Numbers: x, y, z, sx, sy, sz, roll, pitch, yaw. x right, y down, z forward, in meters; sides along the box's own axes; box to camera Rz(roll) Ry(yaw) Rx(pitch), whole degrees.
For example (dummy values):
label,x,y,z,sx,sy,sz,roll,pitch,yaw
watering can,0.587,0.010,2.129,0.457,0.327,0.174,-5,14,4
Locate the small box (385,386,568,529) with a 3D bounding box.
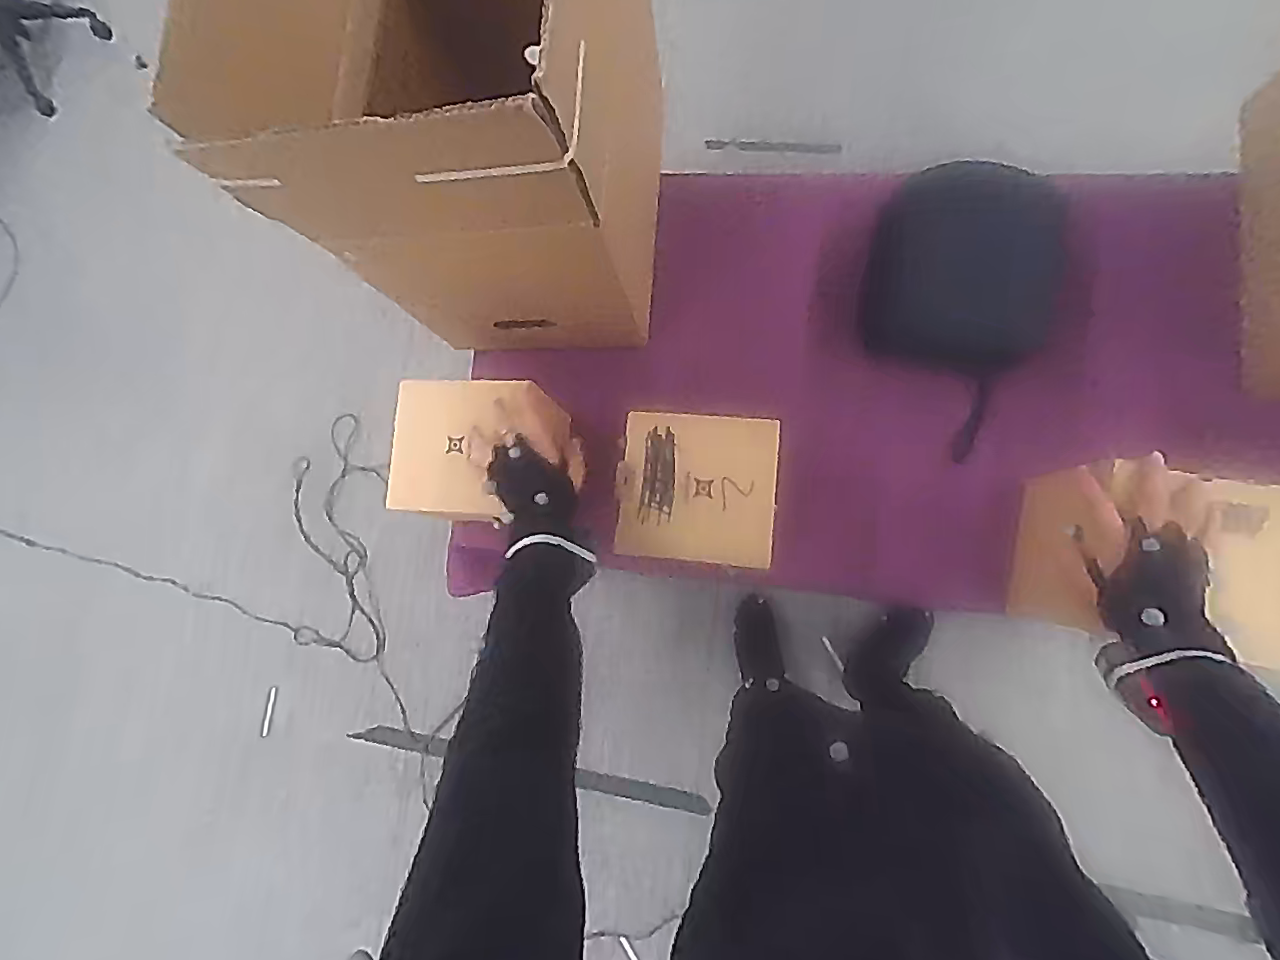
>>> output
label,x,y,z,sx,sy,sz,roll,pitch,yaw
small box,-0.209,-0.022,0.733,0.179,0.176,0.168,1,82,8
